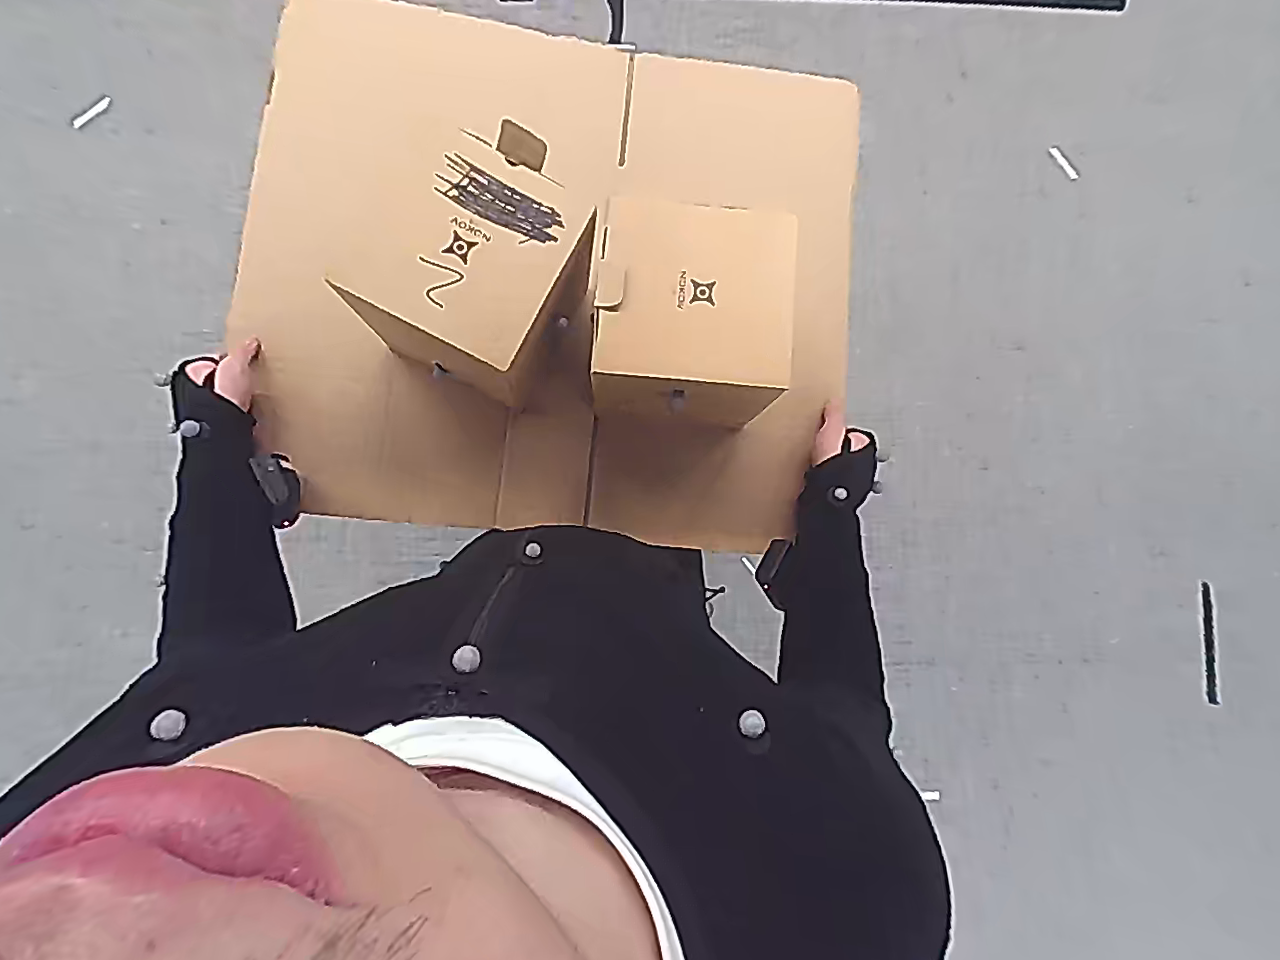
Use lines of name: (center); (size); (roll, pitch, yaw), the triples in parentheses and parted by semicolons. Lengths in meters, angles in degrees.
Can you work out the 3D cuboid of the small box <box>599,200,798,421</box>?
small box: (0.051, -0.162, 0.573); (0.179, 0.176, 0.168); (4, 84, -2)
